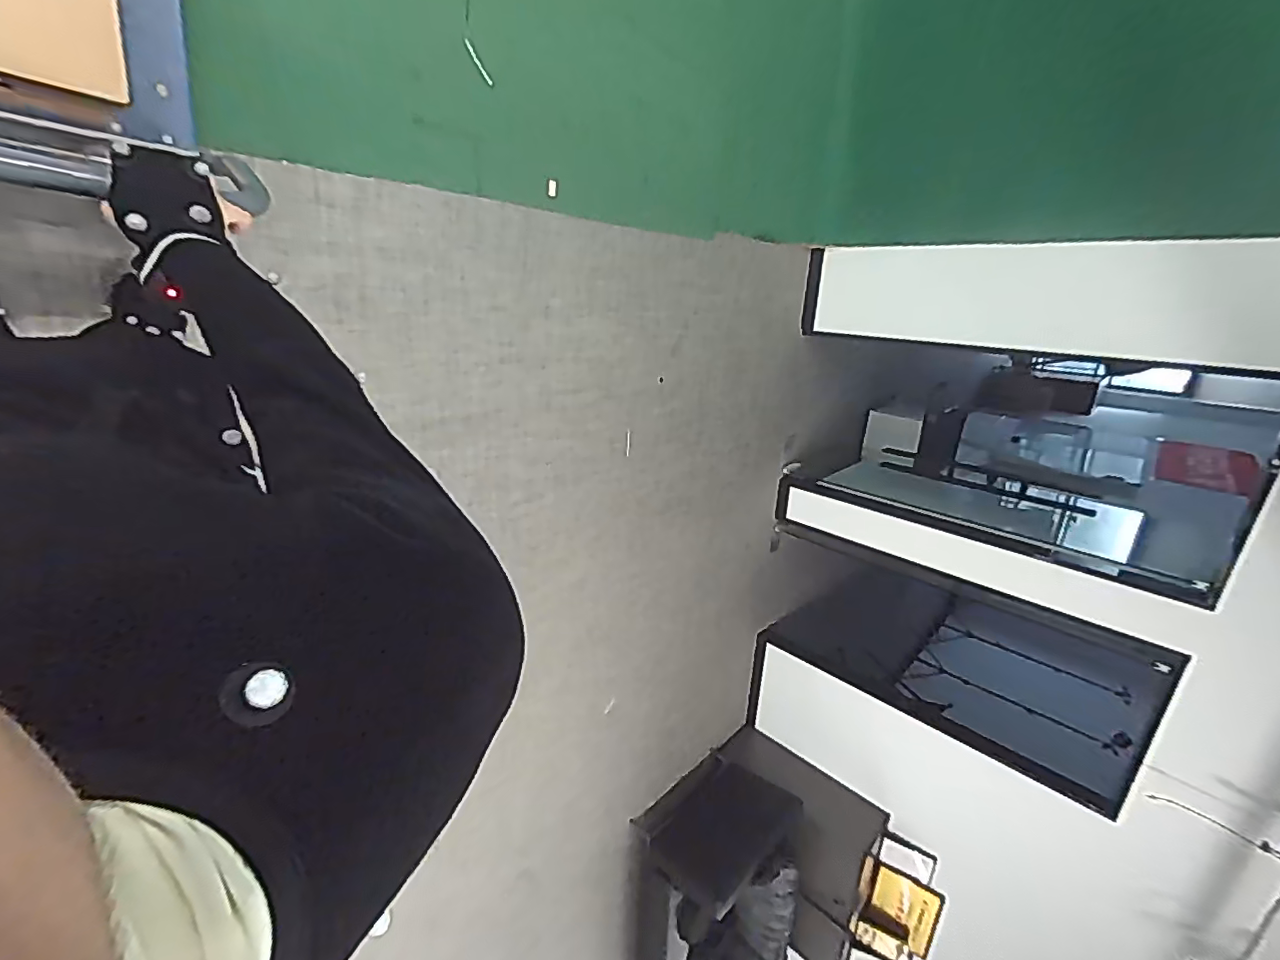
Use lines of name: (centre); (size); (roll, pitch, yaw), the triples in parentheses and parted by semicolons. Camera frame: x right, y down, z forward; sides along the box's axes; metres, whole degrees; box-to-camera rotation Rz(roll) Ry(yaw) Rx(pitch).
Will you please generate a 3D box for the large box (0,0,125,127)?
large box: (-0.921, -0.742, 0.697); (0.320, 0.320, 0.408); (-11, 115, -45)
